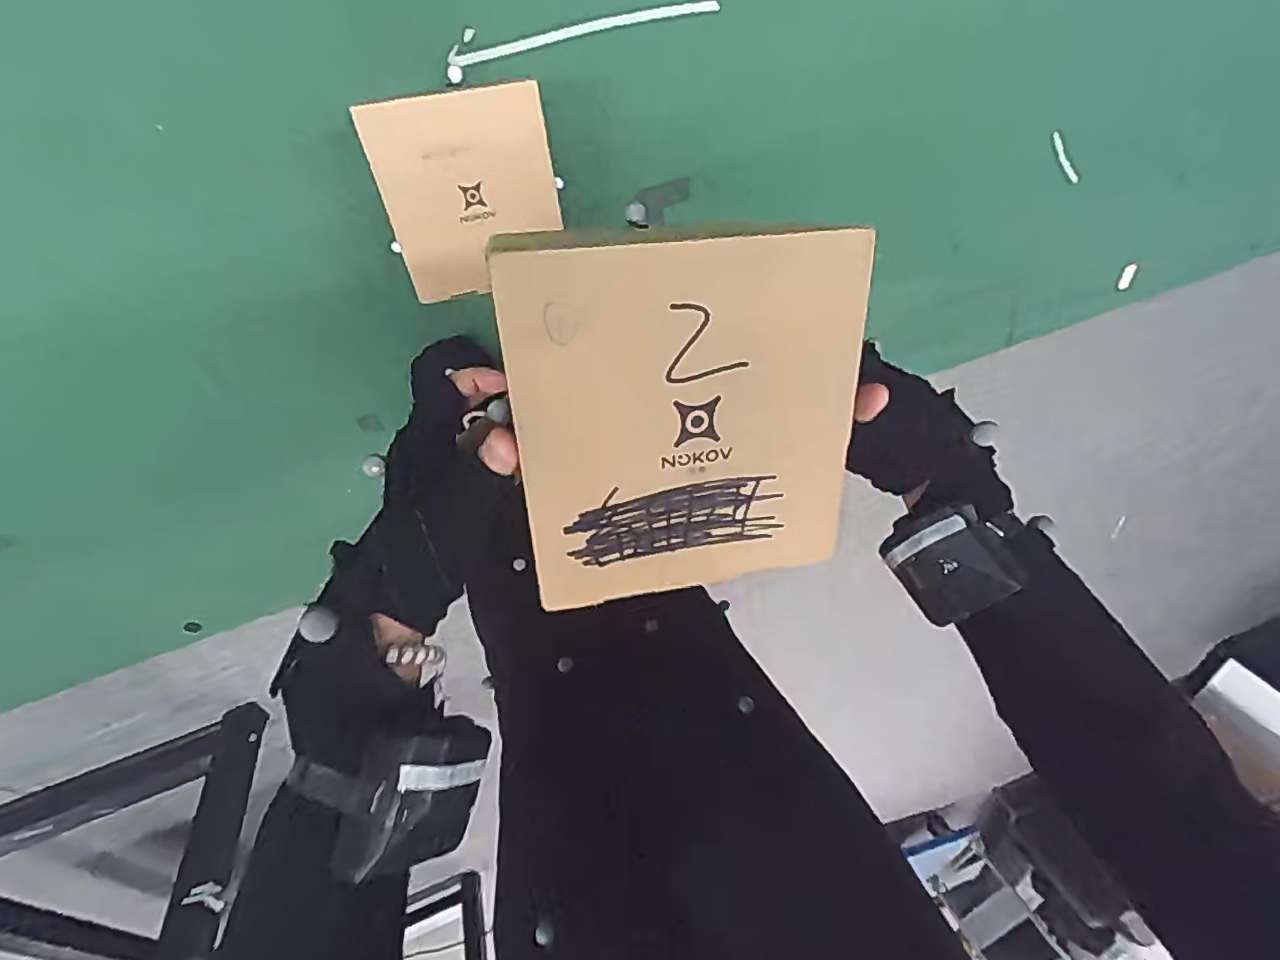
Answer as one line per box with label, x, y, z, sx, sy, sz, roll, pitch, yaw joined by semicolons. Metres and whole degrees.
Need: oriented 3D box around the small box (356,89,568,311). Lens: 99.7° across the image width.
small box;-0.187;-0.313;0.596;0.168;0.176;0.179;-16;129;-11
